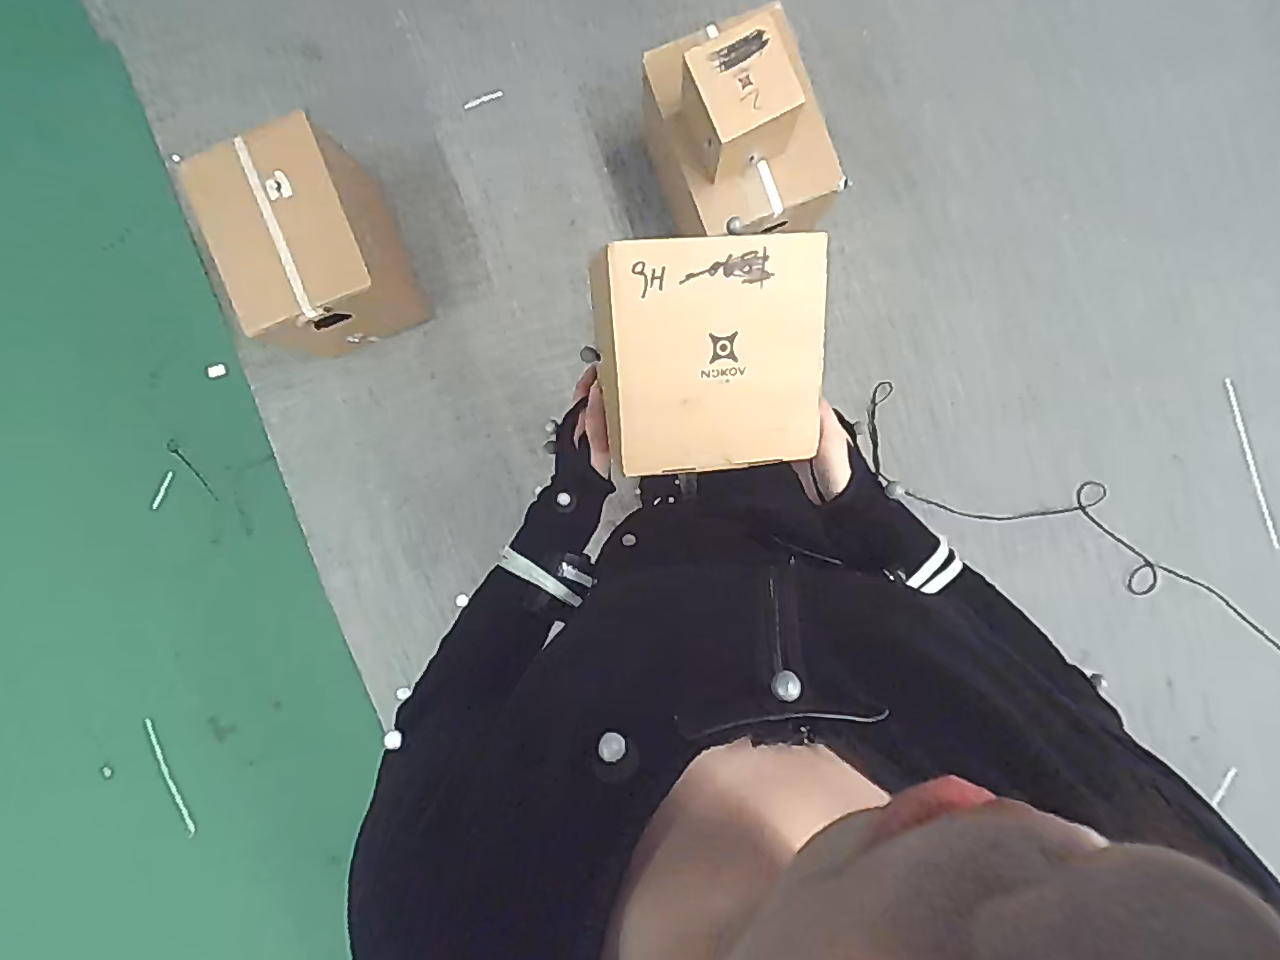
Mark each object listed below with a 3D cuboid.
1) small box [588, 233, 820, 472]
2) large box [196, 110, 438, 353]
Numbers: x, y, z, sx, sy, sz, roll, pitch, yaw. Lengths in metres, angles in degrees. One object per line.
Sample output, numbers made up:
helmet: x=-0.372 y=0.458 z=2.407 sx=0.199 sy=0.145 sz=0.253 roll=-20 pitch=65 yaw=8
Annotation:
small box: x=0.045 y=-0.120 z=0.493 sx=0.168 sy=0.176 sz=0.179 roll=-6 pitch=109 yaw=-8
large box: x=-0.767 y=-0.578 z=1.341 sx=0.320 sy=0.320 sz=0.408 roll=-19 pitch=92 yaw=4
